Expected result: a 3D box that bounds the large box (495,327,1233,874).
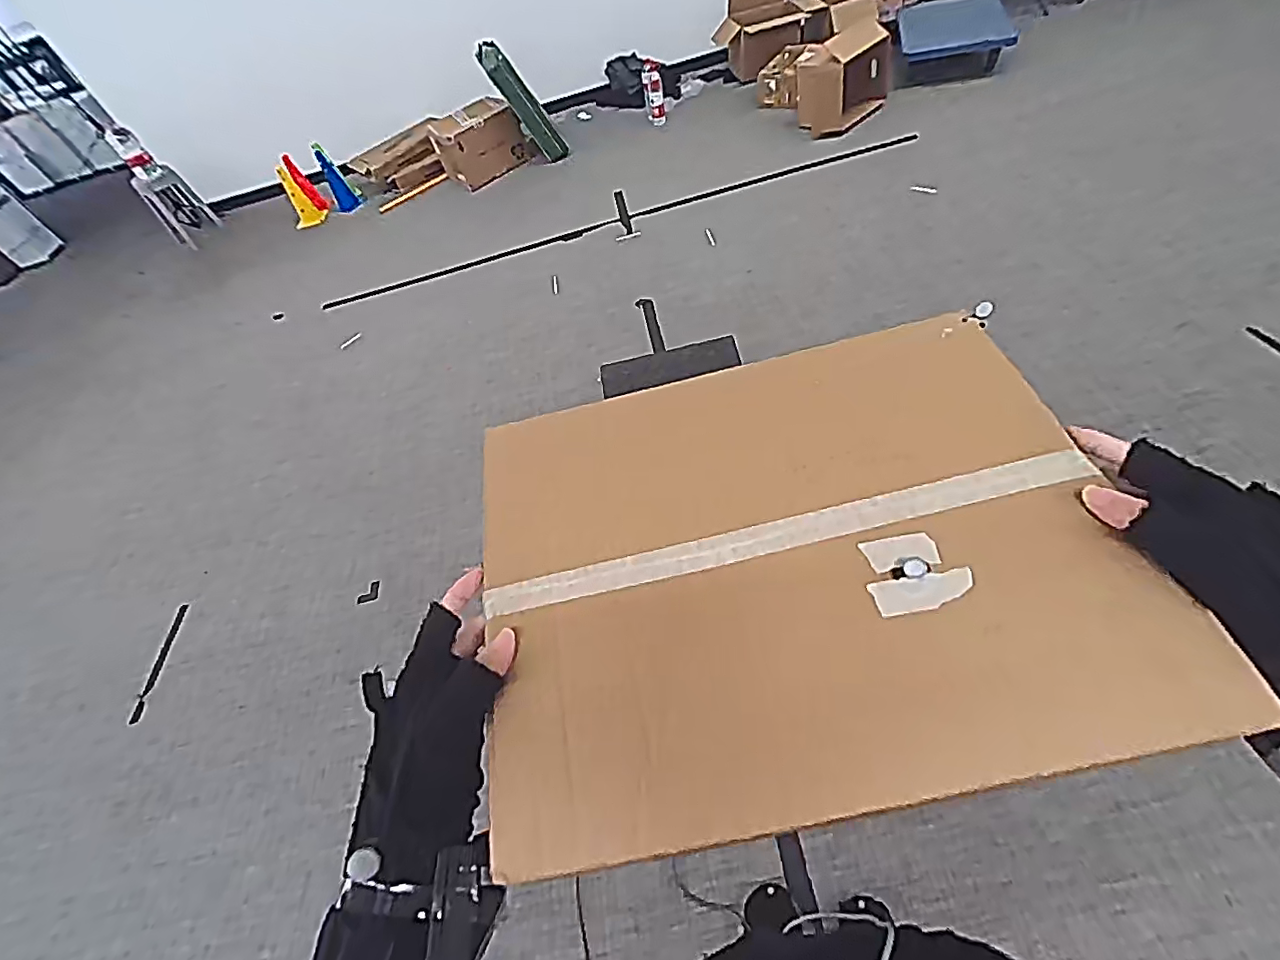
[{"bbox_3d":[0.118,0.123,0.495,0.408,0.320,0.320,-14,57,2],"label":"large box"}]
